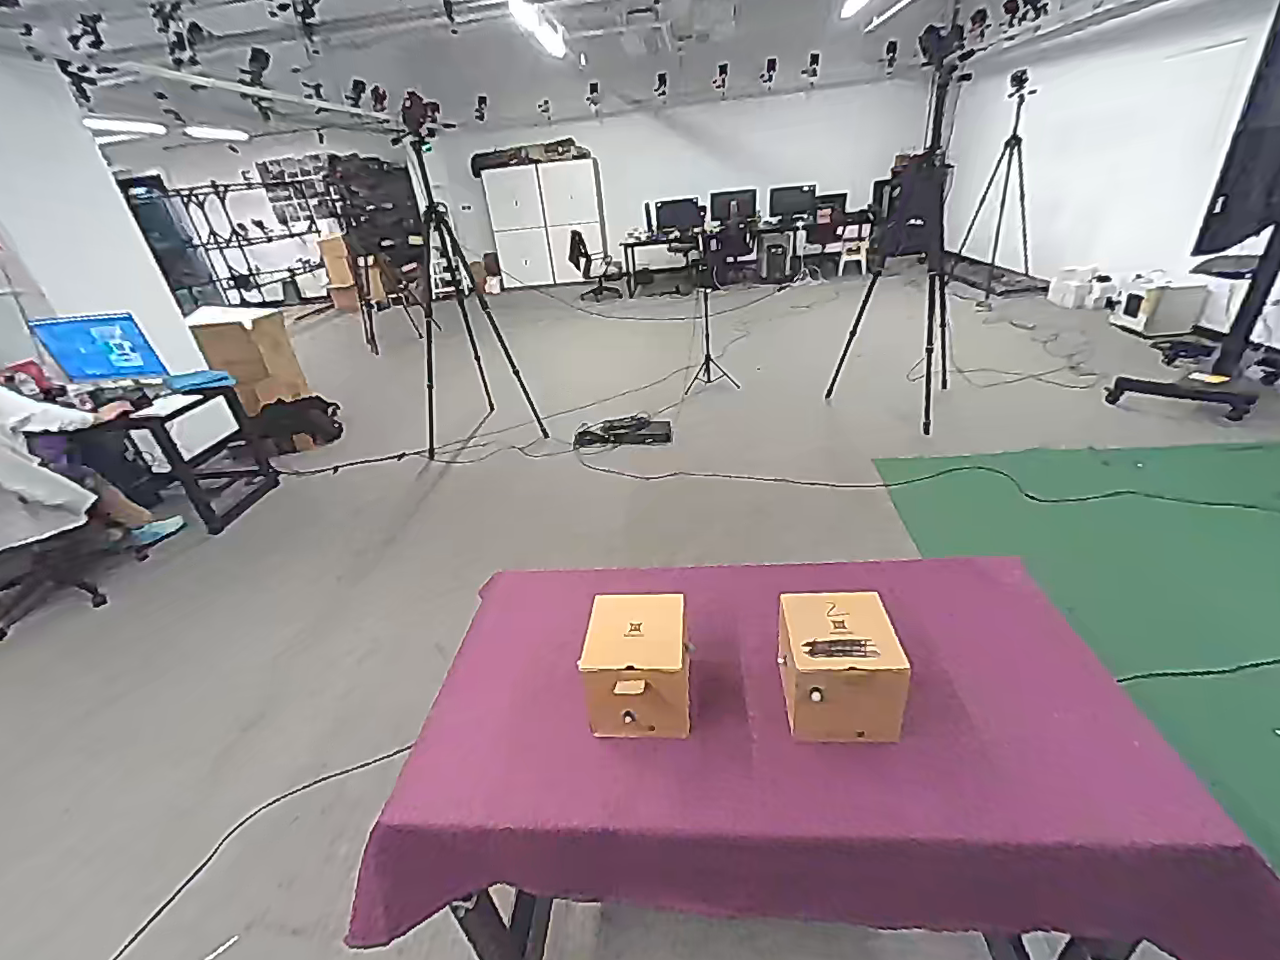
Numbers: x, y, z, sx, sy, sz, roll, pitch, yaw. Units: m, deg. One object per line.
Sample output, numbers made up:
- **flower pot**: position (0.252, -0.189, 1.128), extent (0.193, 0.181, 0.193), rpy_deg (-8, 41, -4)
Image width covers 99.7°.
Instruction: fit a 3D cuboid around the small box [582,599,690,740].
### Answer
- **small box**: position (0.001, 0.335, 0.970), extent (0.168, 0.176, 0.179), rpy_deg (-3, 30, 7)
